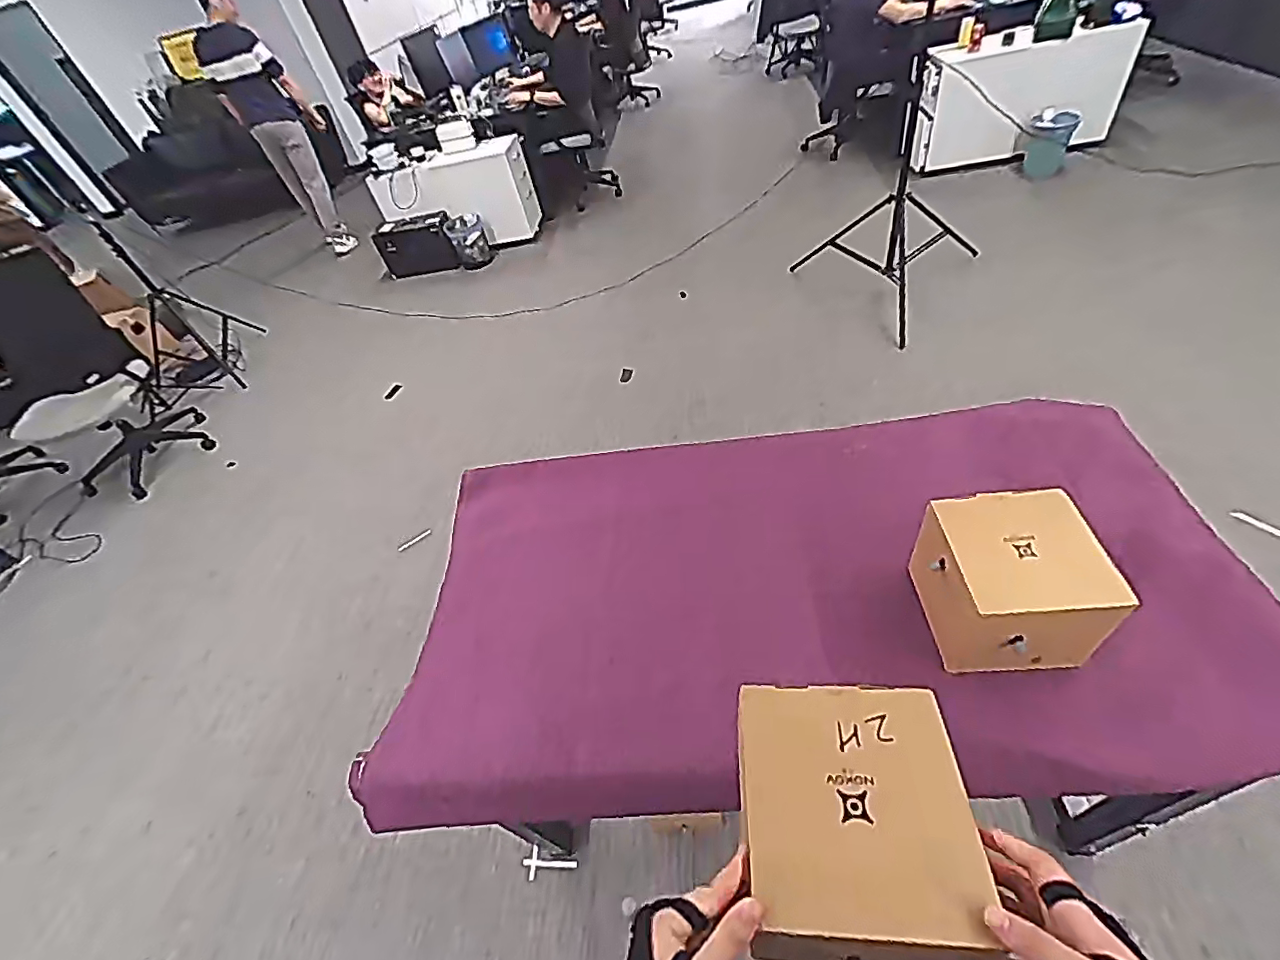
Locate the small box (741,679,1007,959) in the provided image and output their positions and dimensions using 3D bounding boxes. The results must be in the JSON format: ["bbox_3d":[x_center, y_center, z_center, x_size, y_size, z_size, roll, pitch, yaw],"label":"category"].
[{"bbox_3d":[0.176,0.298,0.473,0.168,0.176,0.179,-1,43,8],"label":"small box"}]

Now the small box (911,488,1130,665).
[{"bbox_3d":[0.484,0.136,0.724,0.168,0.176,0.179,-6,46,9],"label":"small box"}]
